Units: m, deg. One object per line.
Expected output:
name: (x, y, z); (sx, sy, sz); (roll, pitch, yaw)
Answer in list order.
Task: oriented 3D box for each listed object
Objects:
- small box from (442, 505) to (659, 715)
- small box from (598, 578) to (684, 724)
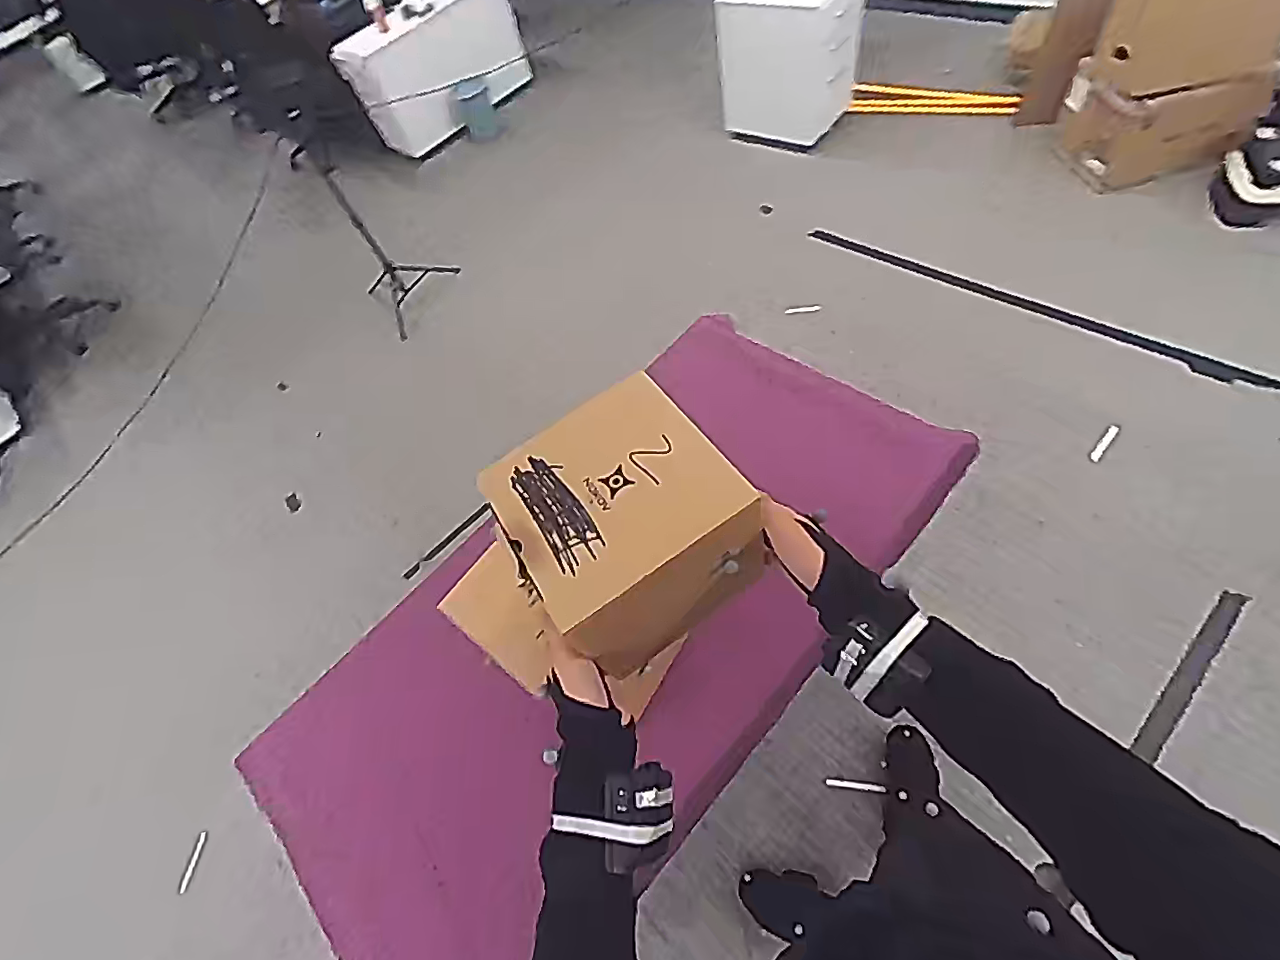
small box: (-0.100, 0.167, 0.673); (0.179, 0.176, 0.168); (30, 71, 27)
small box: (-0.047, 0.239, 0.813); (0.168, 0.176, 0.179); (25, 67, 25)
